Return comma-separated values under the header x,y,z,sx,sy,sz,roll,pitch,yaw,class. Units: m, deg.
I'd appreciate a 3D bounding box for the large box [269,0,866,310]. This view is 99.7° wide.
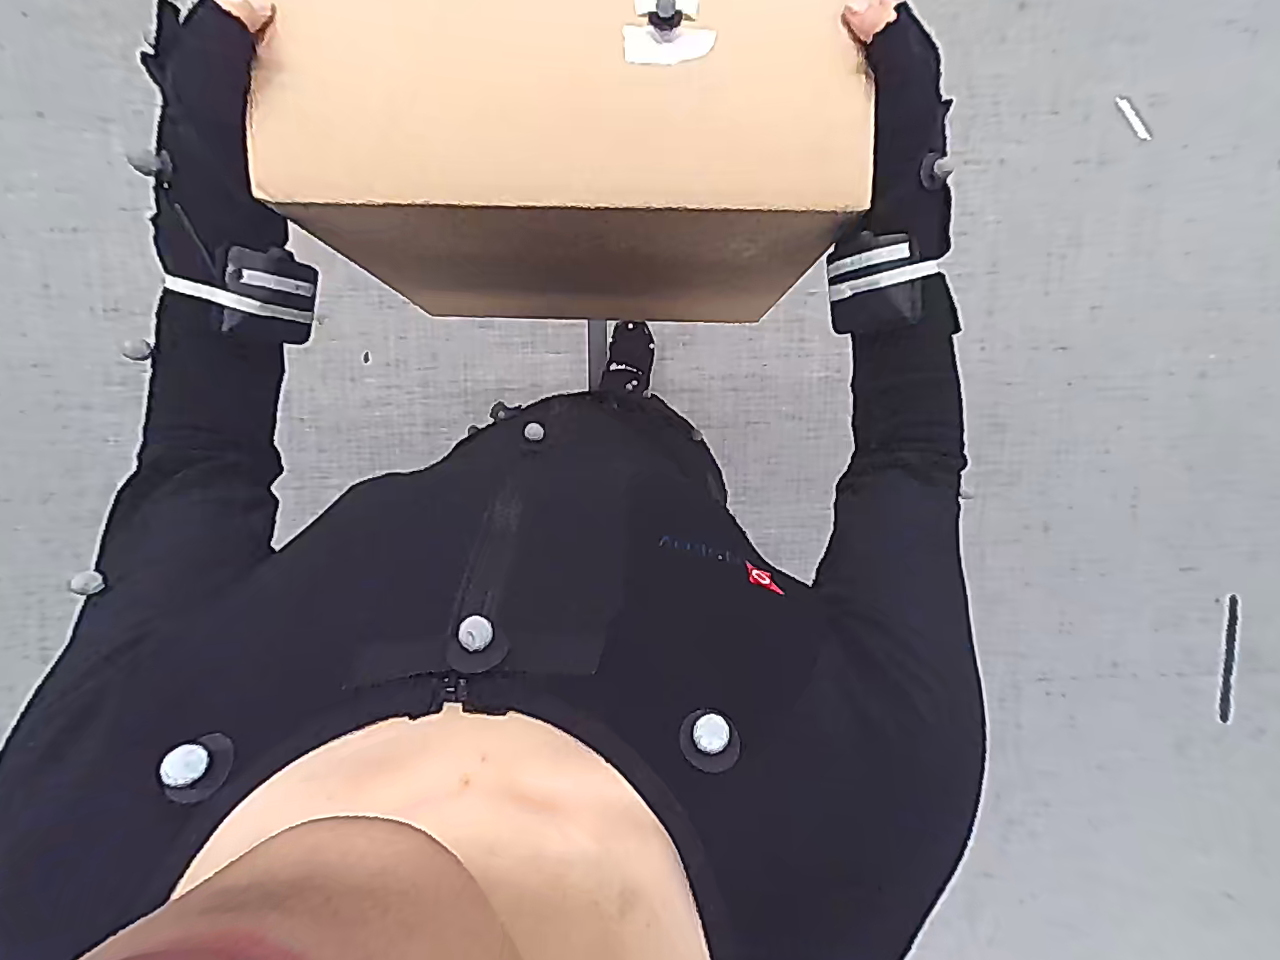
x,y,z,sx,sy,sz,roll,pitch,yaw,class
-0.050,-0.356,0.507,0.408,0.320,0.320,0,93,-1,large box
